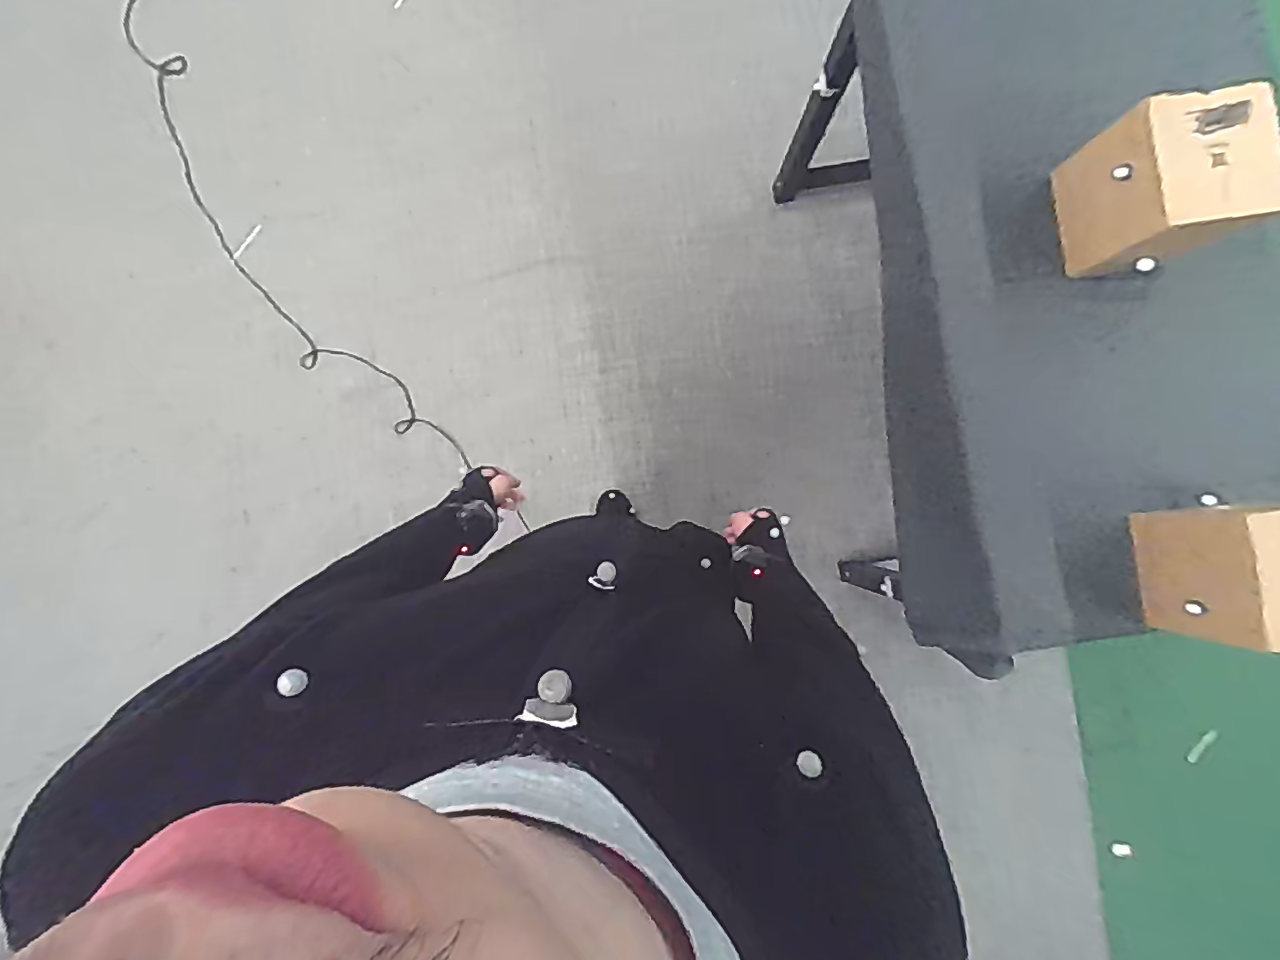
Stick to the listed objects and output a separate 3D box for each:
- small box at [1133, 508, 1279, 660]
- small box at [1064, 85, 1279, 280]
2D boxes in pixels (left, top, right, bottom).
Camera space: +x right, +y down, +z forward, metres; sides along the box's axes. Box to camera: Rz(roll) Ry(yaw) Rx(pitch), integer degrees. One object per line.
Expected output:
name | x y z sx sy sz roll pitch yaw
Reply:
small box | 0.844 0.132 0.747 0.168 0.176 0.179 -6 86 -1
small box | 0.750 -0.411 0.771 0.168 0.176 0.179 -7 89 0
